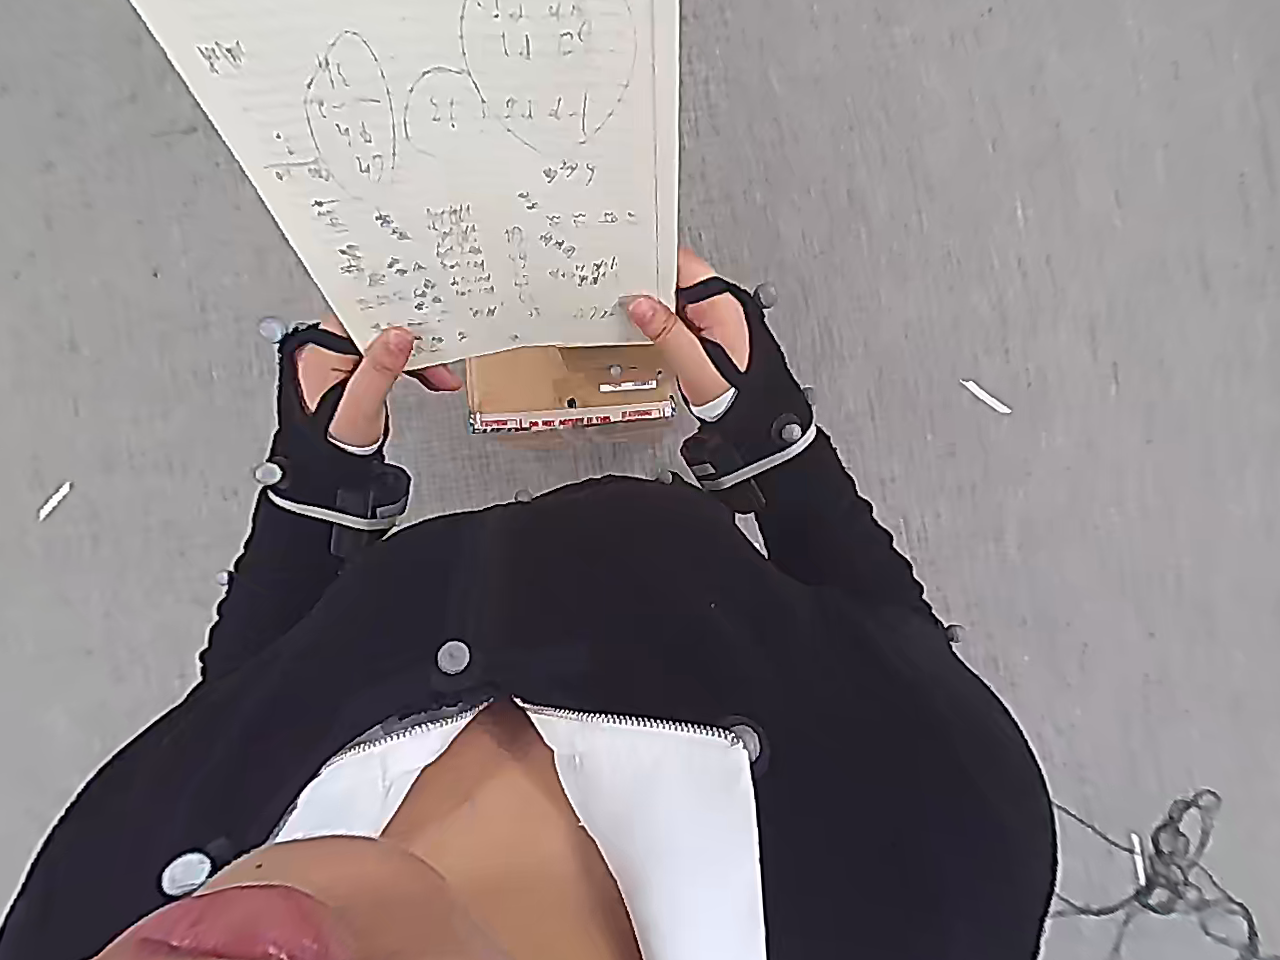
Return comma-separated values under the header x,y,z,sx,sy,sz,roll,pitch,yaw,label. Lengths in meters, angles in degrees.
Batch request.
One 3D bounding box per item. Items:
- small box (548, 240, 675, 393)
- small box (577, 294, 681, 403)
x,y,z,sx,sy,sz,roll,pitch,yaw,label
-0.042,-0.228,0.789,0.168,0.176,0.179,-2,91,-3,small box
-0.029,-0.233,0.954,0.179,0.176,0.168,-6,90,-2,small box
